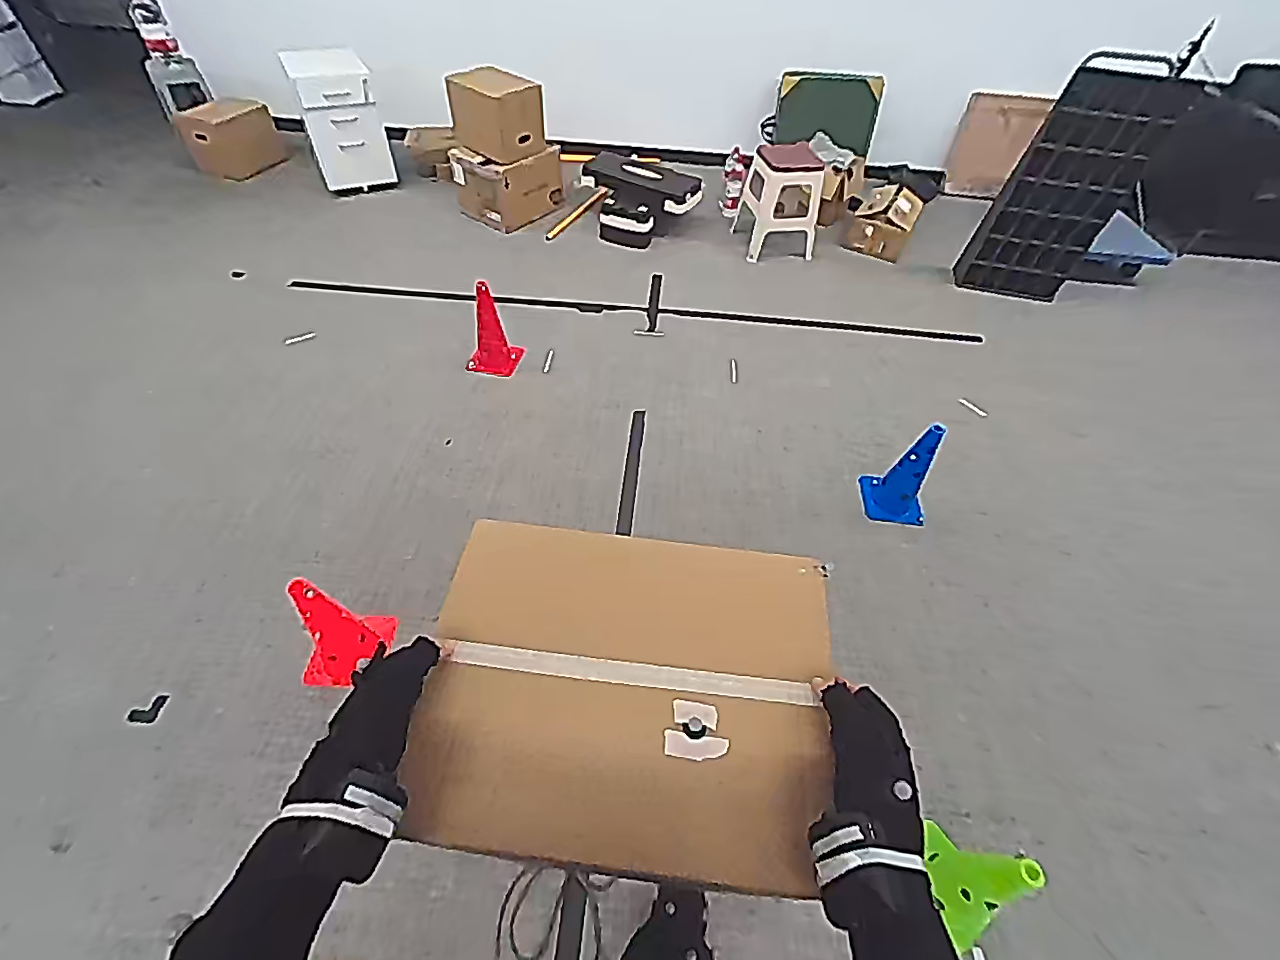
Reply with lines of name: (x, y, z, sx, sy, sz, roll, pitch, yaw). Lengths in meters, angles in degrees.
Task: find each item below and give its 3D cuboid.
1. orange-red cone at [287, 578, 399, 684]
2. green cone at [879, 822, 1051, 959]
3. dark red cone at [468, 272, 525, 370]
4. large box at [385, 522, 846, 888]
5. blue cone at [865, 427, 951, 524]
orange-red cone: (-0.775, 0.349, 1.344, 0.198, 0.360, 0.199, 3, 51, 0)
green cone: (0.670, 0.790, 1.059, 0.202, 0.368, 0.200, -24, 56, -24)
dark red cone: (-0.596, -0.643, 2.167, 0.201, 0.394, 0.202, 11, 50, 4)
large box: (-0.015, 0.280, 0.662, 0.408, 0.320, 0.320, 7, 53, 3)
blue cone: (0.914, -0.032, 1.797, 0.192, 0.380, 0.193, 9, 50, 2)
